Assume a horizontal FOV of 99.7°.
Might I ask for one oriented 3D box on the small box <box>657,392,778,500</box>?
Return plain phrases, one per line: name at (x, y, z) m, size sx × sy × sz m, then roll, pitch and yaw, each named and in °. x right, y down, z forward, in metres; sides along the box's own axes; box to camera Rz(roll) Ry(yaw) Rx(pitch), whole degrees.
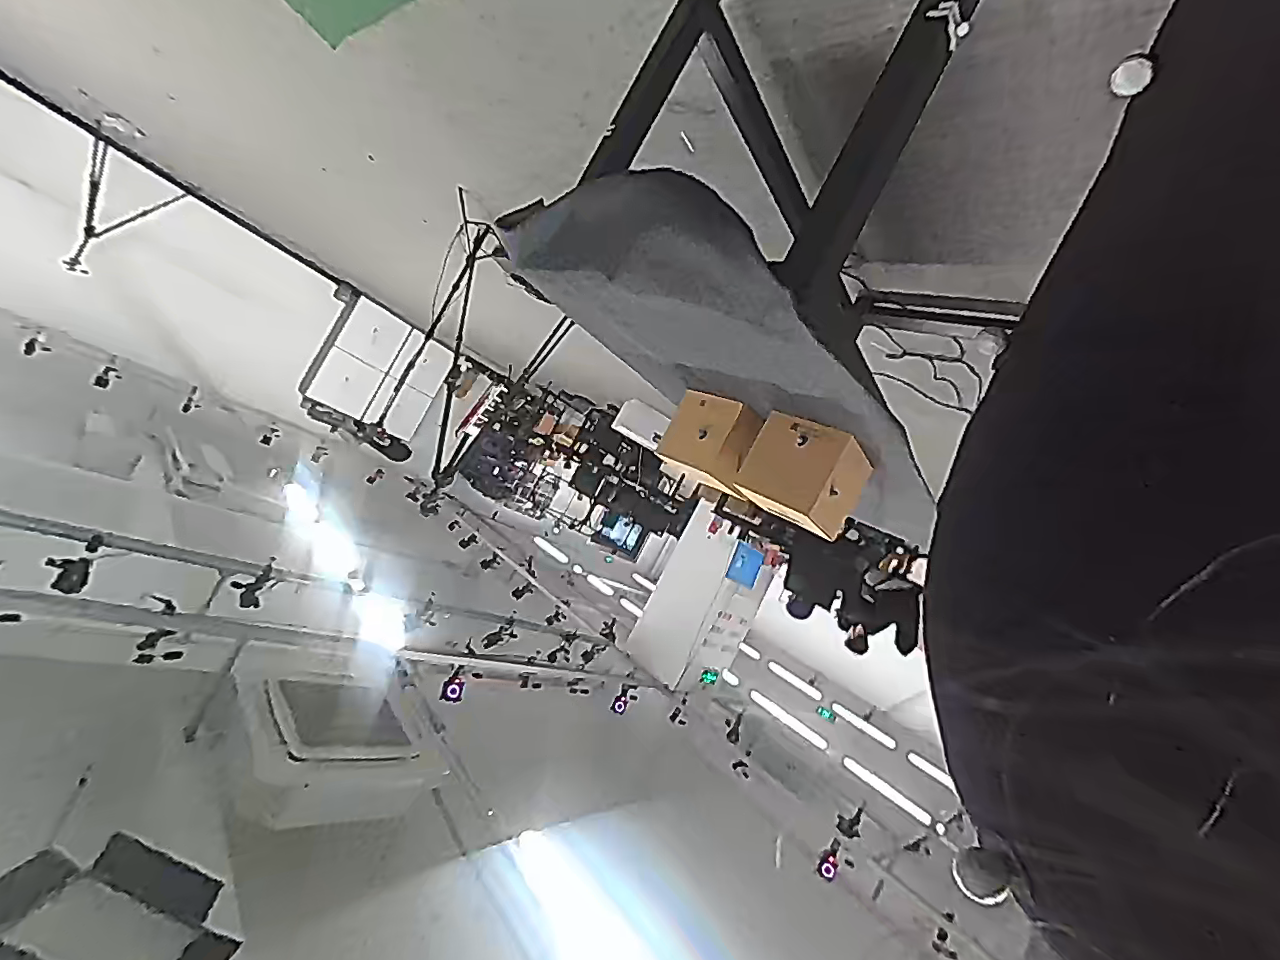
small box at (0.176, -0.079, 1.206) m, size 0.168 × 0.176 × 0.179 m, roll 24°, pitch 176°, yaw 45°
